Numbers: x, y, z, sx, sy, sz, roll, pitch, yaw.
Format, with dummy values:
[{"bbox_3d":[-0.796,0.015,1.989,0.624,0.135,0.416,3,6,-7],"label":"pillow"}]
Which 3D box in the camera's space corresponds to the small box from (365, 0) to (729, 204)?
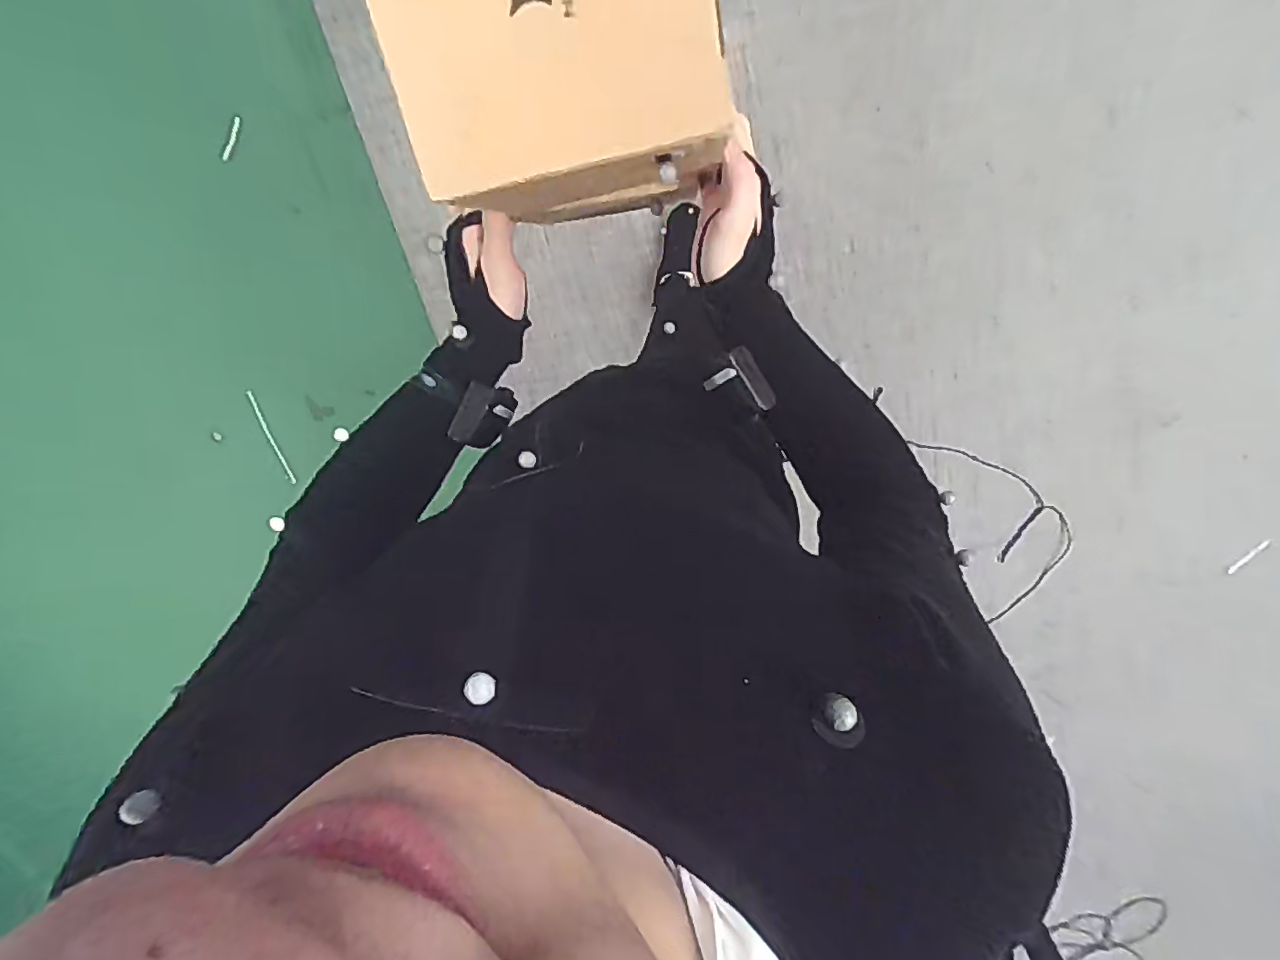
[{"bbox_3d":[-0.045,-0.280,0.331,0.179,0.176,0.168,-9,112,9],"label":"small box"}]
